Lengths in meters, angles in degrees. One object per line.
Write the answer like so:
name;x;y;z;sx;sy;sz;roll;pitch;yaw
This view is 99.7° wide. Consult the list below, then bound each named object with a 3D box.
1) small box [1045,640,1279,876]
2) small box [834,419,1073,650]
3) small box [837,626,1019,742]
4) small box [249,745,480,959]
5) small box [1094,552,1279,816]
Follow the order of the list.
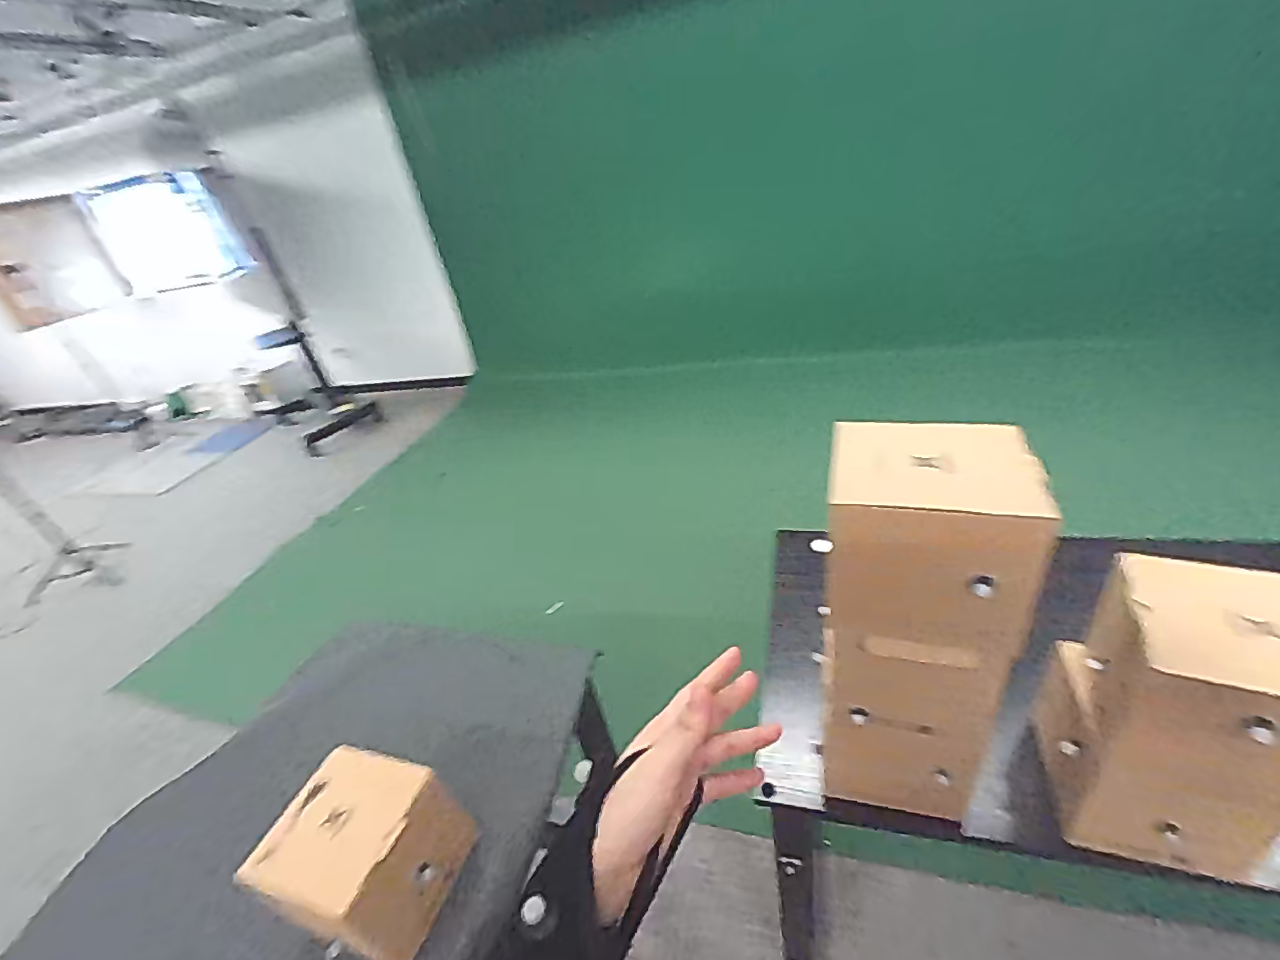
small box;0.611;0.323;0.640;0.168;0.176;0.179;3;35;22
small box;0.298;0.050;0.556;0.179;0.176;0.168;2;33;22
small box;0.329;0.180;0.649;0.168;0.176;0.179;3;34;21
small box;-0.343;0.486;0.710;0.179;0.176;0.168;1;35;23
small box;0.589;0.200;0.533;0.179;0.176;0.168;7;37;28
